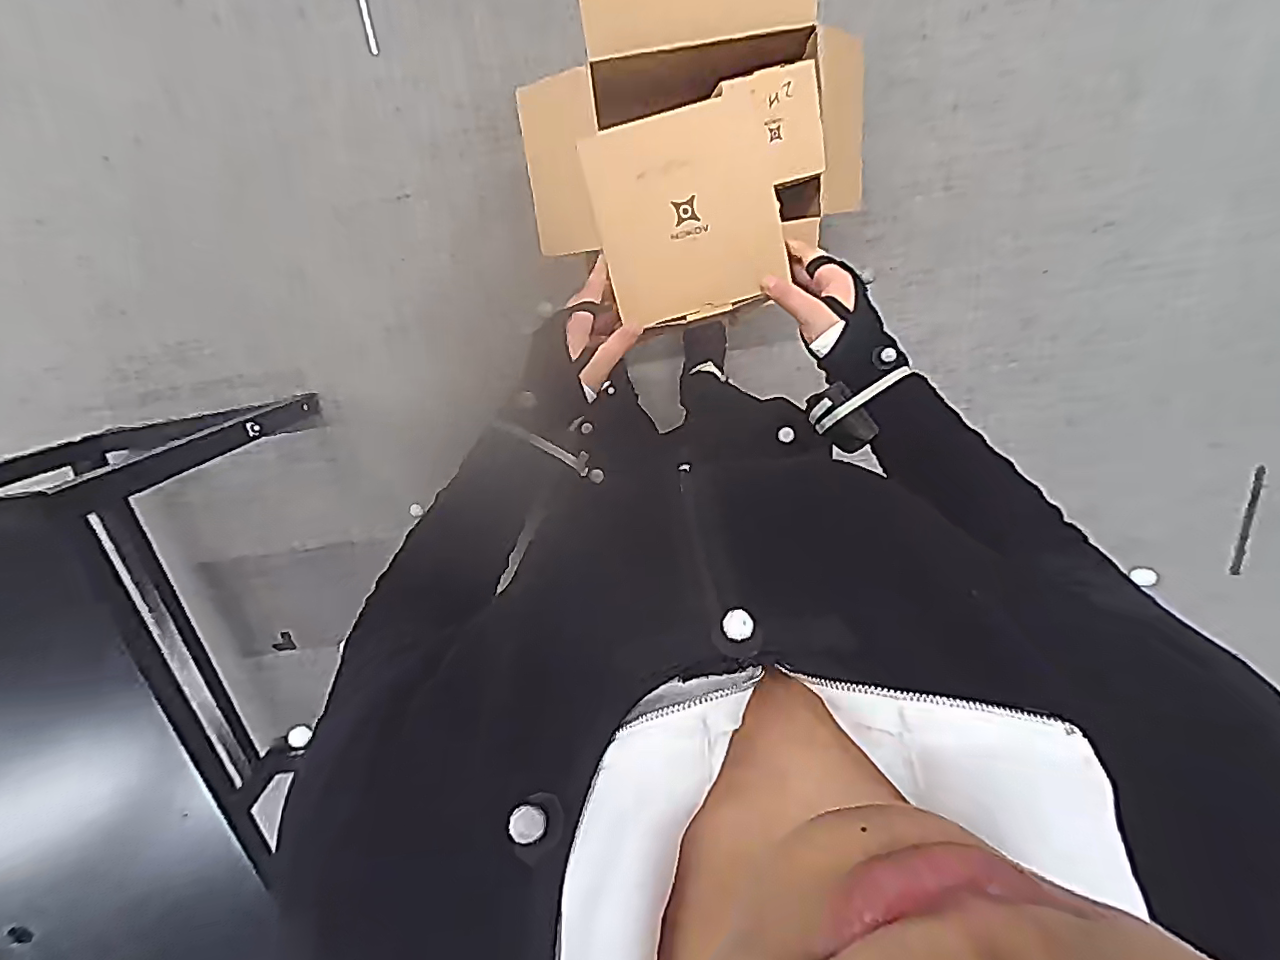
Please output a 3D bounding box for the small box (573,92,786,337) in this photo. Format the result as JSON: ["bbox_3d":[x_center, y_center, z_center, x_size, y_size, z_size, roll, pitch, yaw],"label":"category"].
[{"bbox_3d":[0.039,-0.256,0.573,0.168,0.176,0.179,-15,100,2],"label":"small box"}]

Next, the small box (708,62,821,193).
[{"bbox_3d":[0.222,-0.634,1.012,0.168,0.176,0.179,-15,111,0],"label":"small box"}]
